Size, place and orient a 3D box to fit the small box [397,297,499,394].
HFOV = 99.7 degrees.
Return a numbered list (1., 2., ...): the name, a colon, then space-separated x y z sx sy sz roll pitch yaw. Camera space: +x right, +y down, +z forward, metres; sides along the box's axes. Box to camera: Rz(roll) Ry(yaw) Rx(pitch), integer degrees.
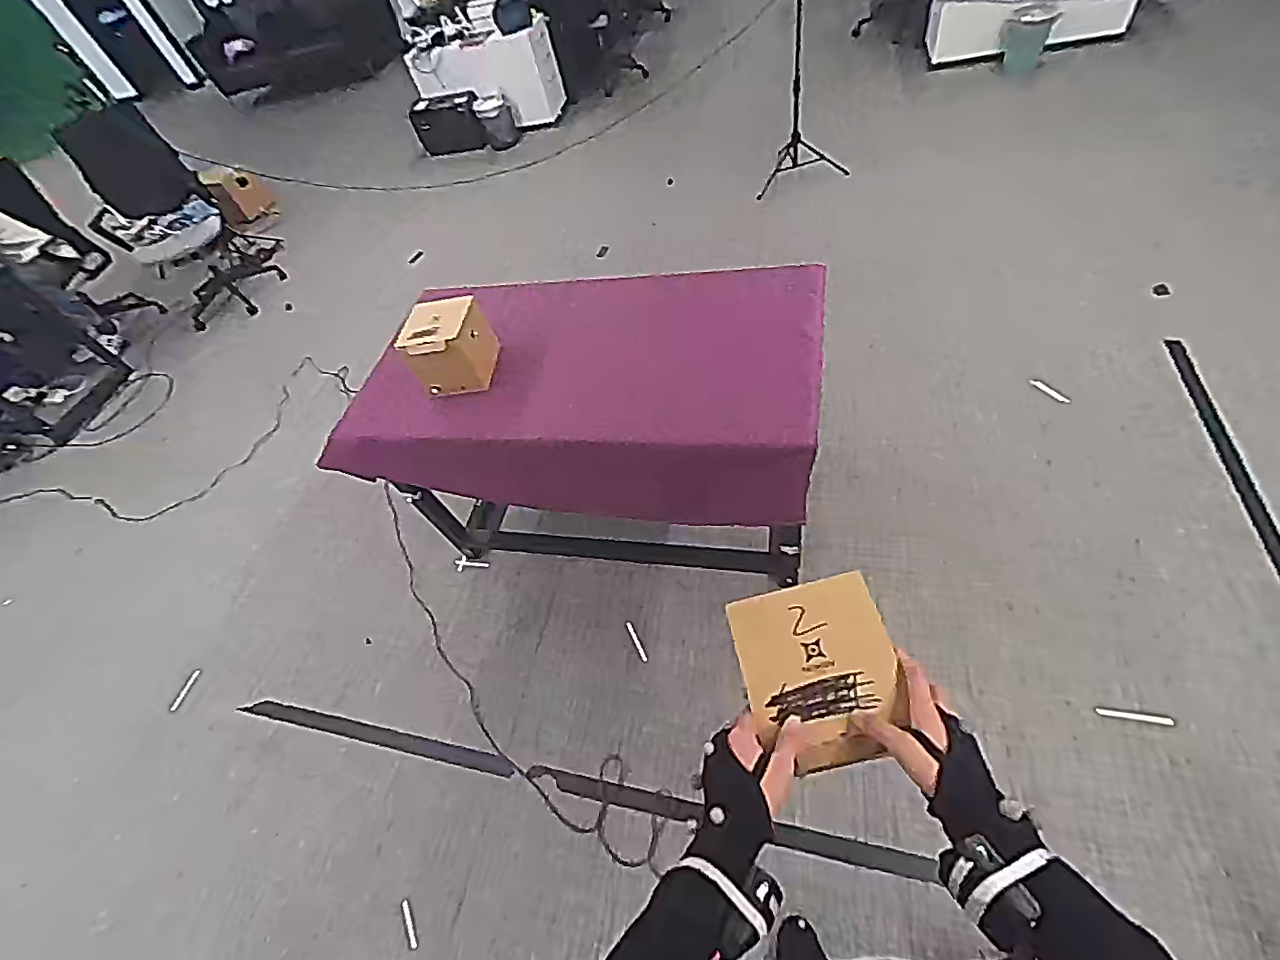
1. small box: -0.478 -0.333 1.378 0.168 0.176 0.179 -5 53 11
